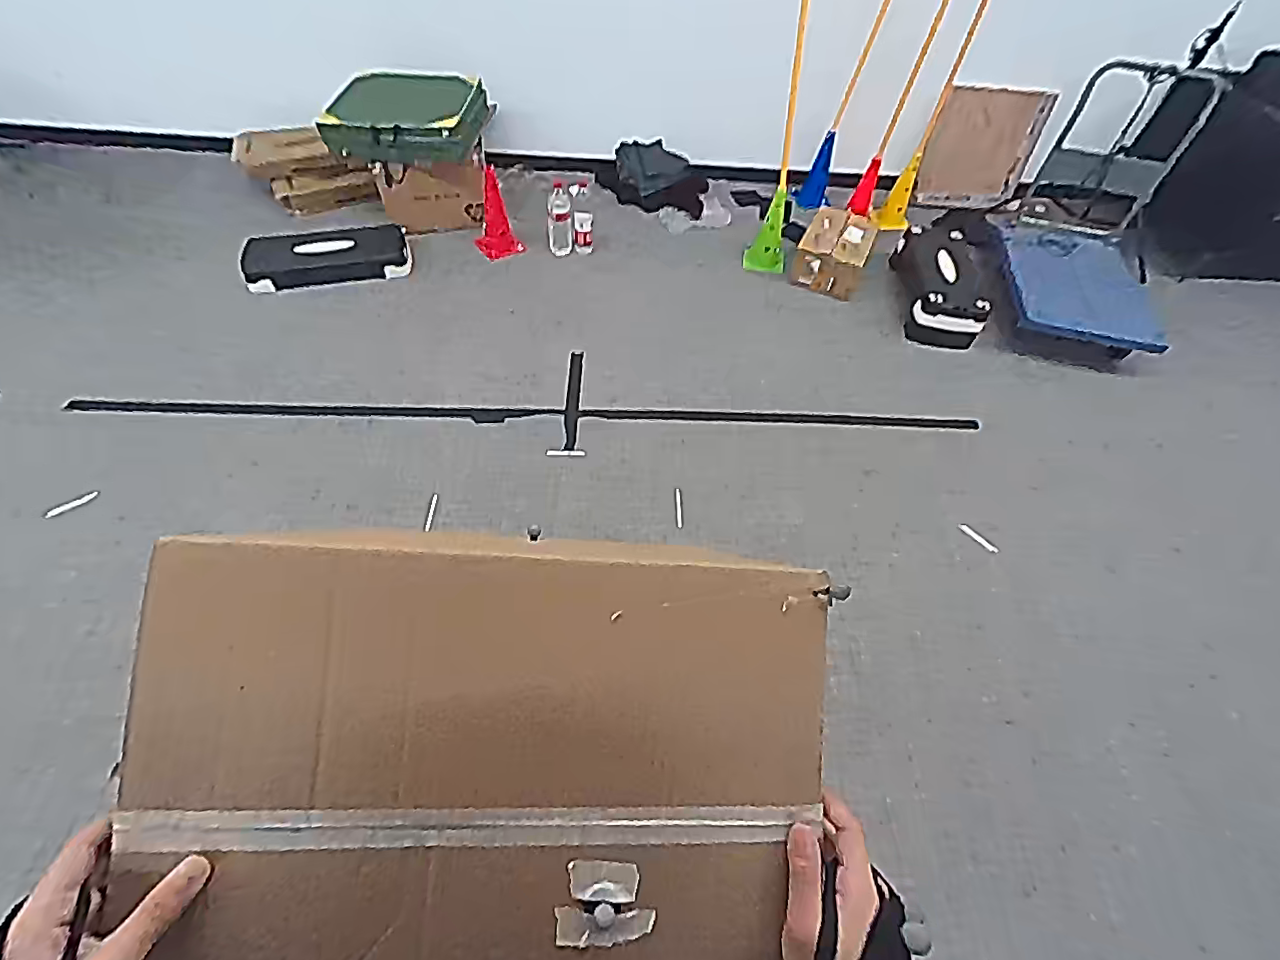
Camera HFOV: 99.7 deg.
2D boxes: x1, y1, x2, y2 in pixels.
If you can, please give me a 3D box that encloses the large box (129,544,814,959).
[{"bbox_3d":[-0.106,0.220,0.479,0.408,0.320,0.320,4,86,-8],"label":"large box"}]
